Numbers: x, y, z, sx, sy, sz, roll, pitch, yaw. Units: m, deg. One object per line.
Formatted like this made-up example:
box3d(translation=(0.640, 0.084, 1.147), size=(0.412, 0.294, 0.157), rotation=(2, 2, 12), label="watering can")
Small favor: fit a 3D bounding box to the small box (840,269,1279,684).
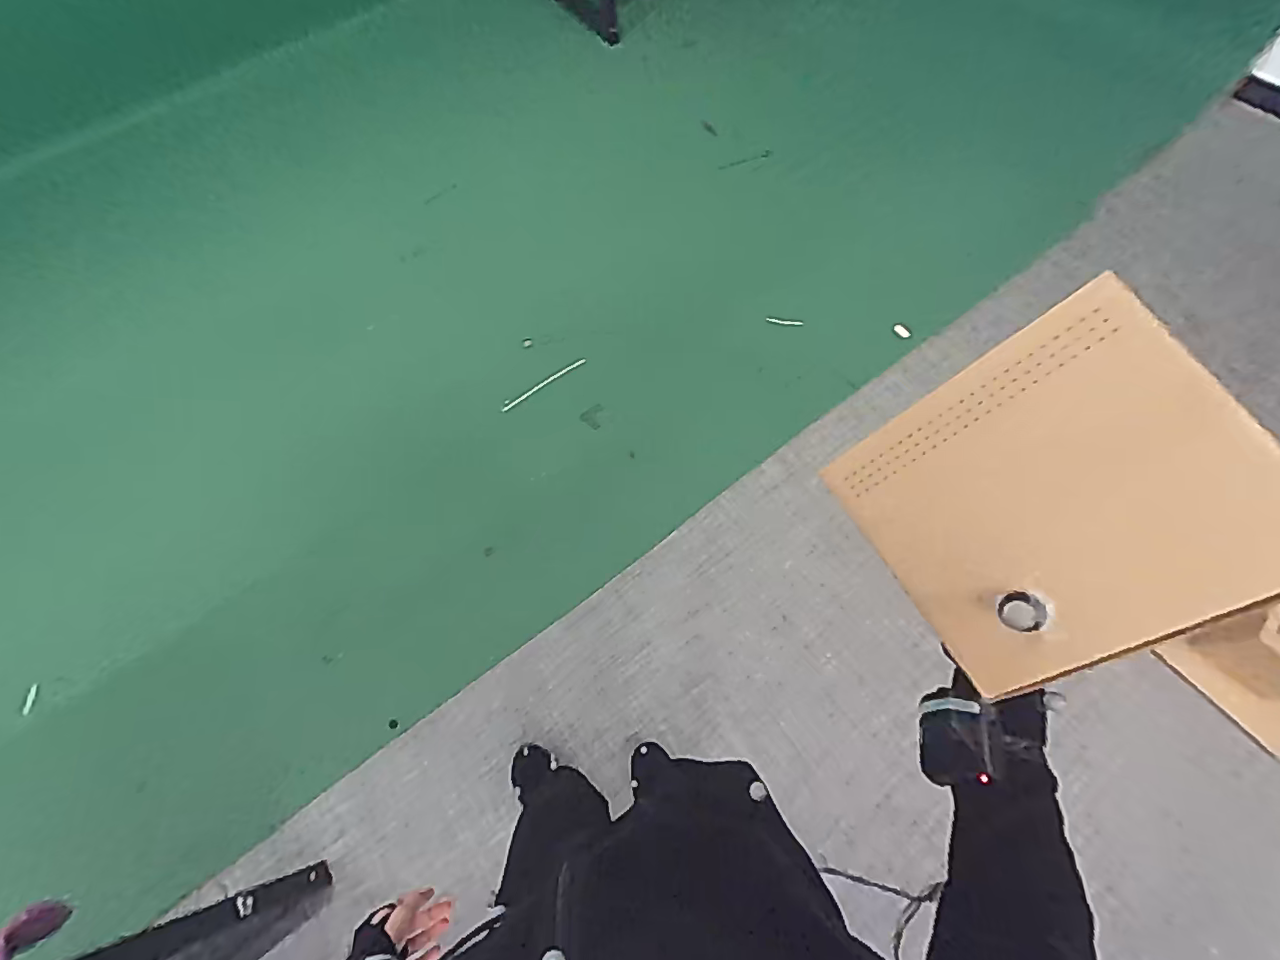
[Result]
box3d(translation=(0.257, -0.002, 0.358), size=(0.179, 0.168, 0.176), rotation=(-40, 76, 30), label="small box")
